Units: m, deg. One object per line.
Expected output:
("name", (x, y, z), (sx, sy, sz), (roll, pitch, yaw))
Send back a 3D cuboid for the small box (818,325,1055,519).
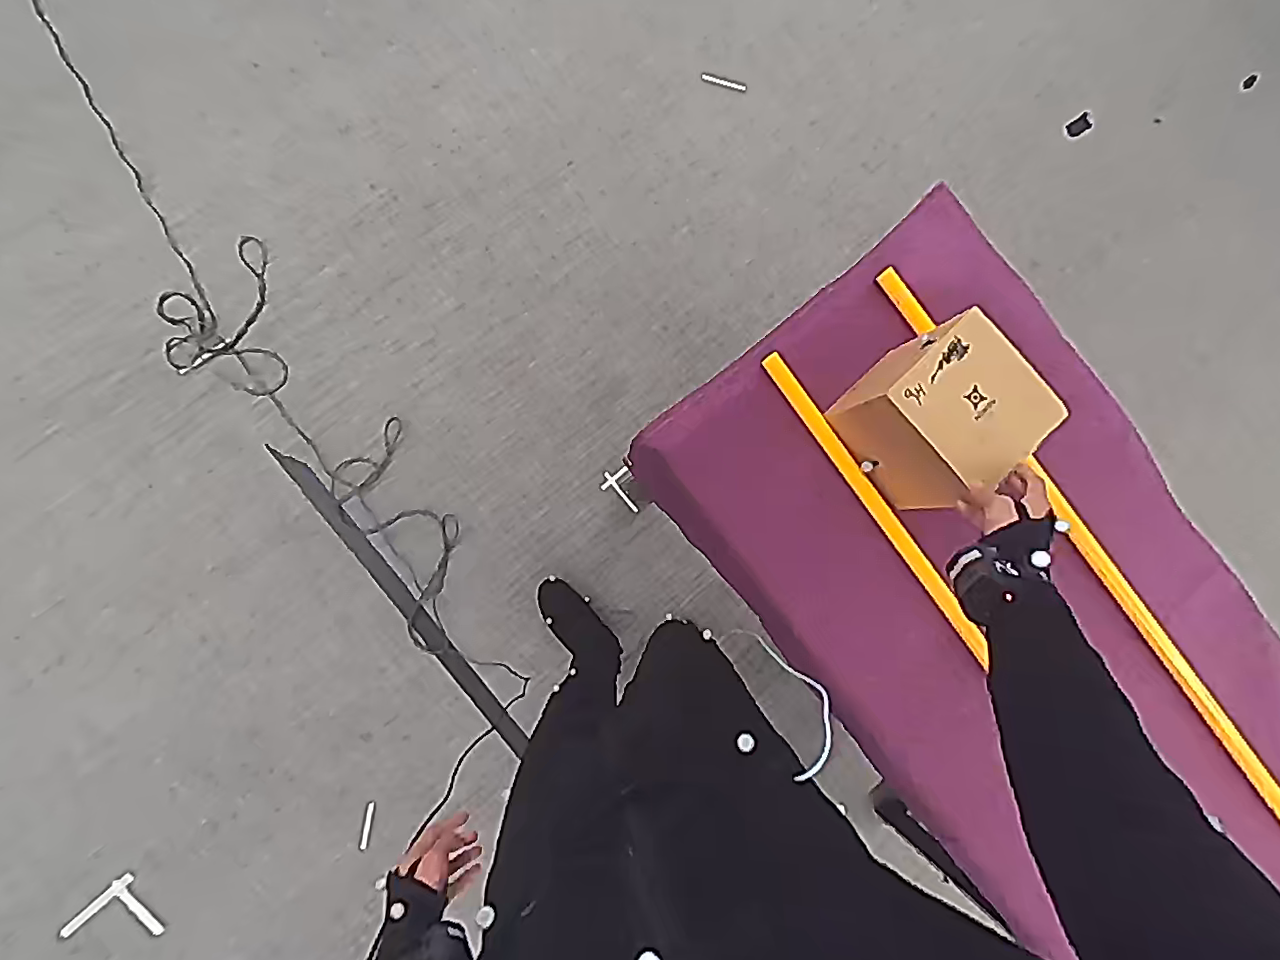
("small box", (0.377, -0.067, 0.718), (0.168, 0.176, 0.179), (-42, 93, -9))
